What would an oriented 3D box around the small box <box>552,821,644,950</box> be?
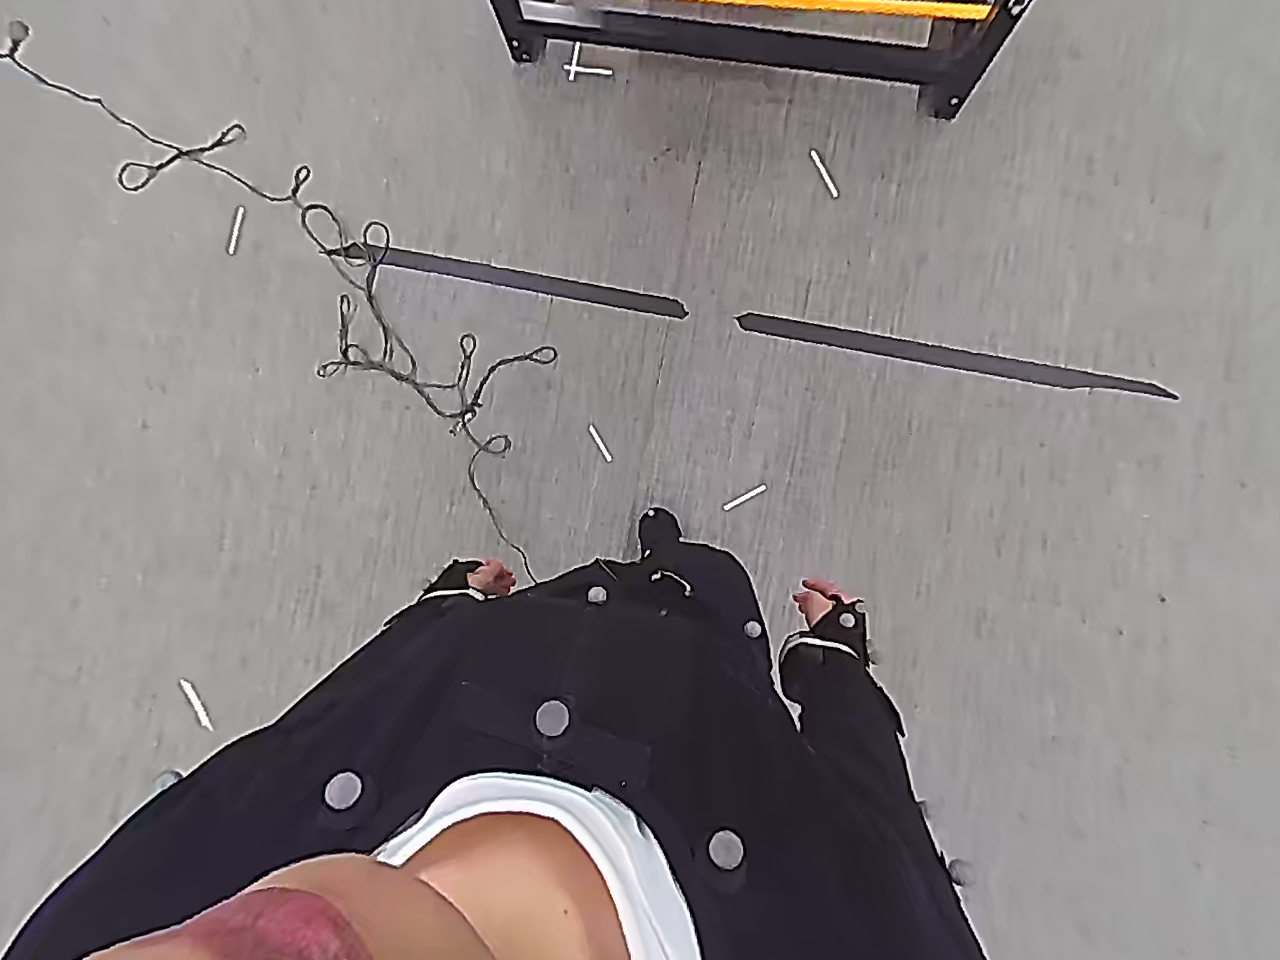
[{"bbox_3d":[-0.093,0.950,1.286,0.179,0.176,0.168,10,88,5],"label":"small box"}]
